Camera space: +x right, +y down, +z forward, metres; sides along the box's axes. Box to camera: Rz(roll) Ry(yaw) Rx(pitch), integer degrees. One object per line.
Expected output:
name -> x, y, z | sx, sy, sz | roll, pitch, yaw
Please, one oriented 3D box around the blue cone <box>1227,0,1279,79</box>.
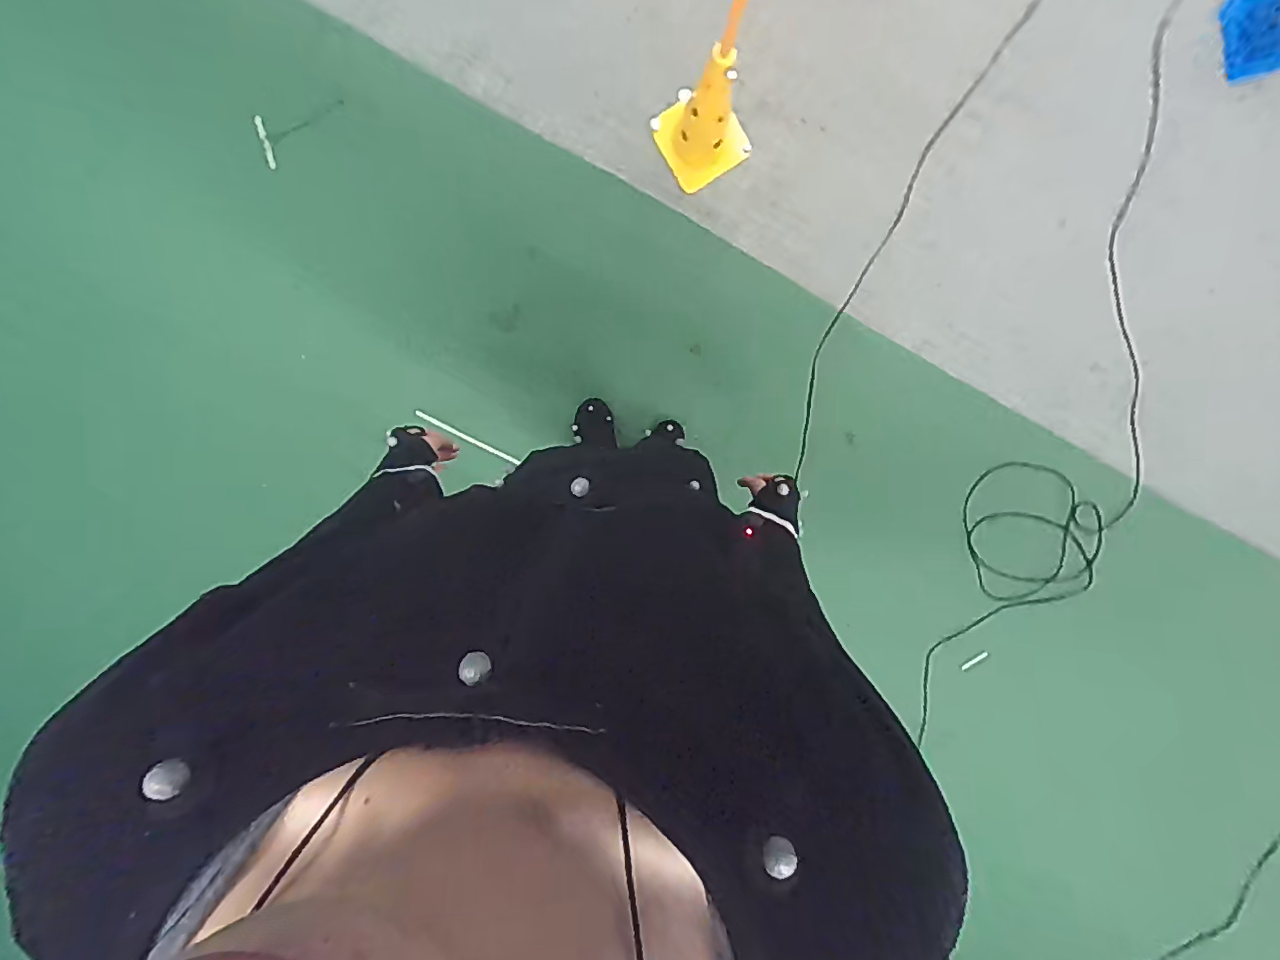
blue cone -> 1.571, -1.102, 1.185 | 0.193, 0.380, 0.192 | -18, 98, -1
